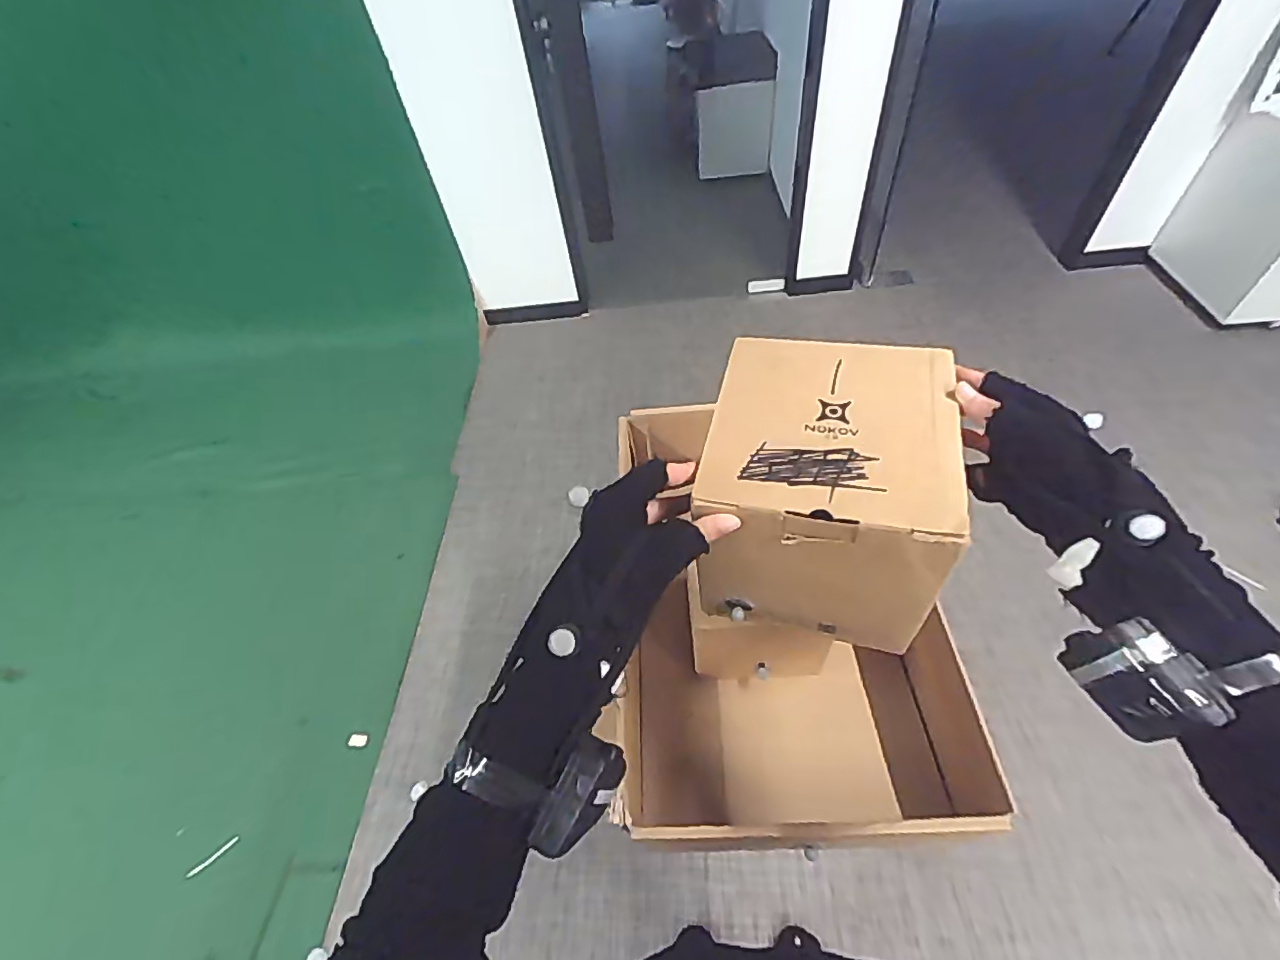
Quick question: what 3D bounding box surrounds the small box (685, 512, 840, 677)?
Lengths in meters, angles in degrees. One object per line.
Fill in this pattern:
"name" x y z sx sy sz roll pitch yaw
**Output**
"small box" 0.154 0.161 0.747 0.179 0.176 0.168 -3 49 3
